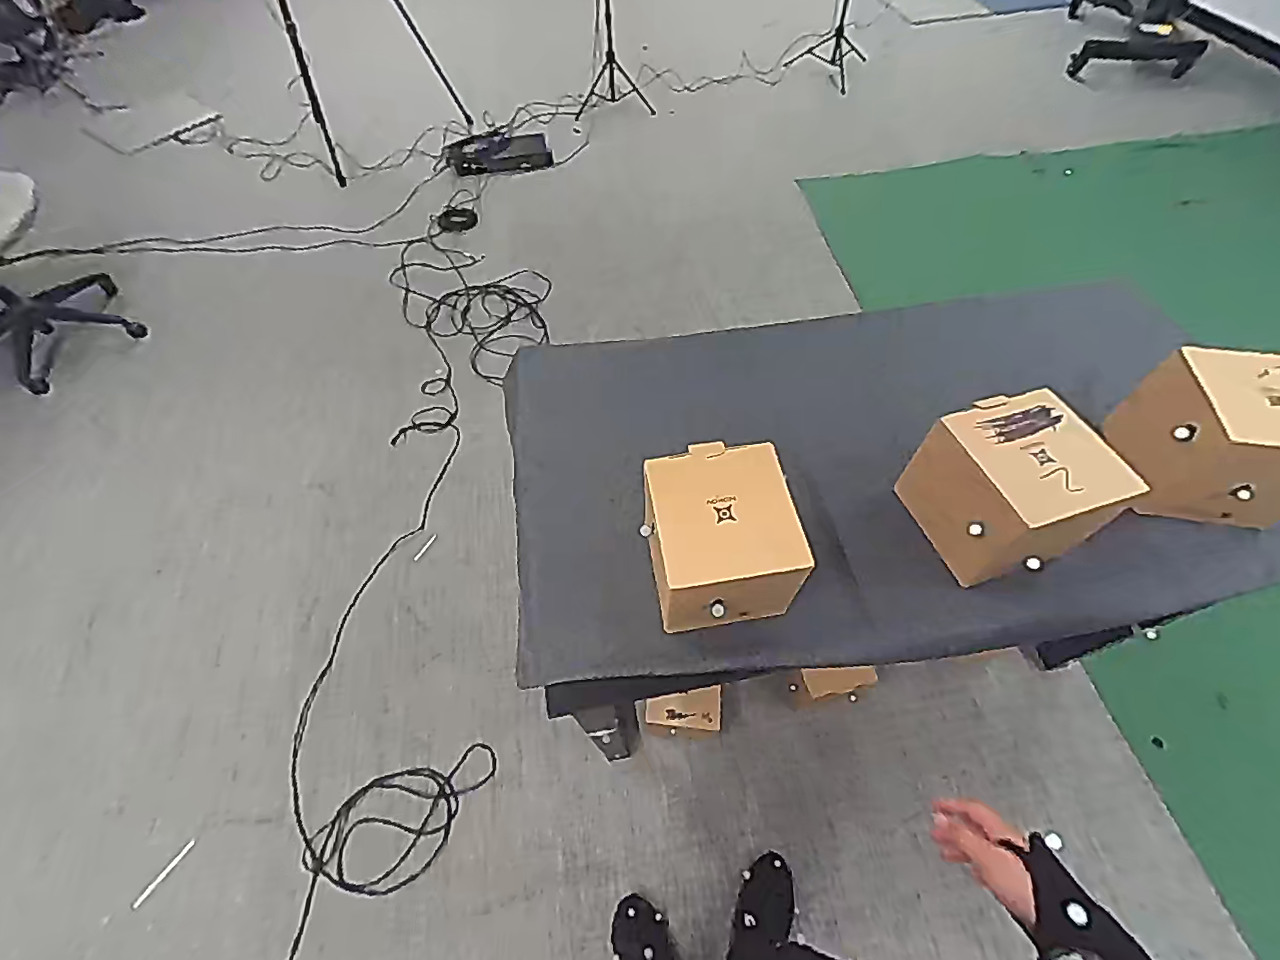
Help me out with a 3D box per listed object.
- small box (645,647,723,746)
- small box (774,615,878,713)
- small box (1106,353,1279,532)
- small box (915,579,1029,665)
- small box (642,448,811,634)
[{"bbox_3d":[0.103,0.515,1.283,0.168,0.176,0.179,5,57,5],"label":"small box"},{"bbox_3d":[0.440,0.451,1.310,0.168,0.176,0.179,-11,56,-6],"label":"small box"},{"bbox_3d":[0.805,-0.047,0.746,0.168,0.176,0.179,8,55,7],"label":"small box"},{"bbox_3d":[0.814,0.358,1.355,0.179,0.176,0.168,2,57,2],"label":"small box"},{"bbox_3d":[0.099,0.086,0.692,0.168,0.176,0.179,-9,57,-3],"label":"small box"}]
